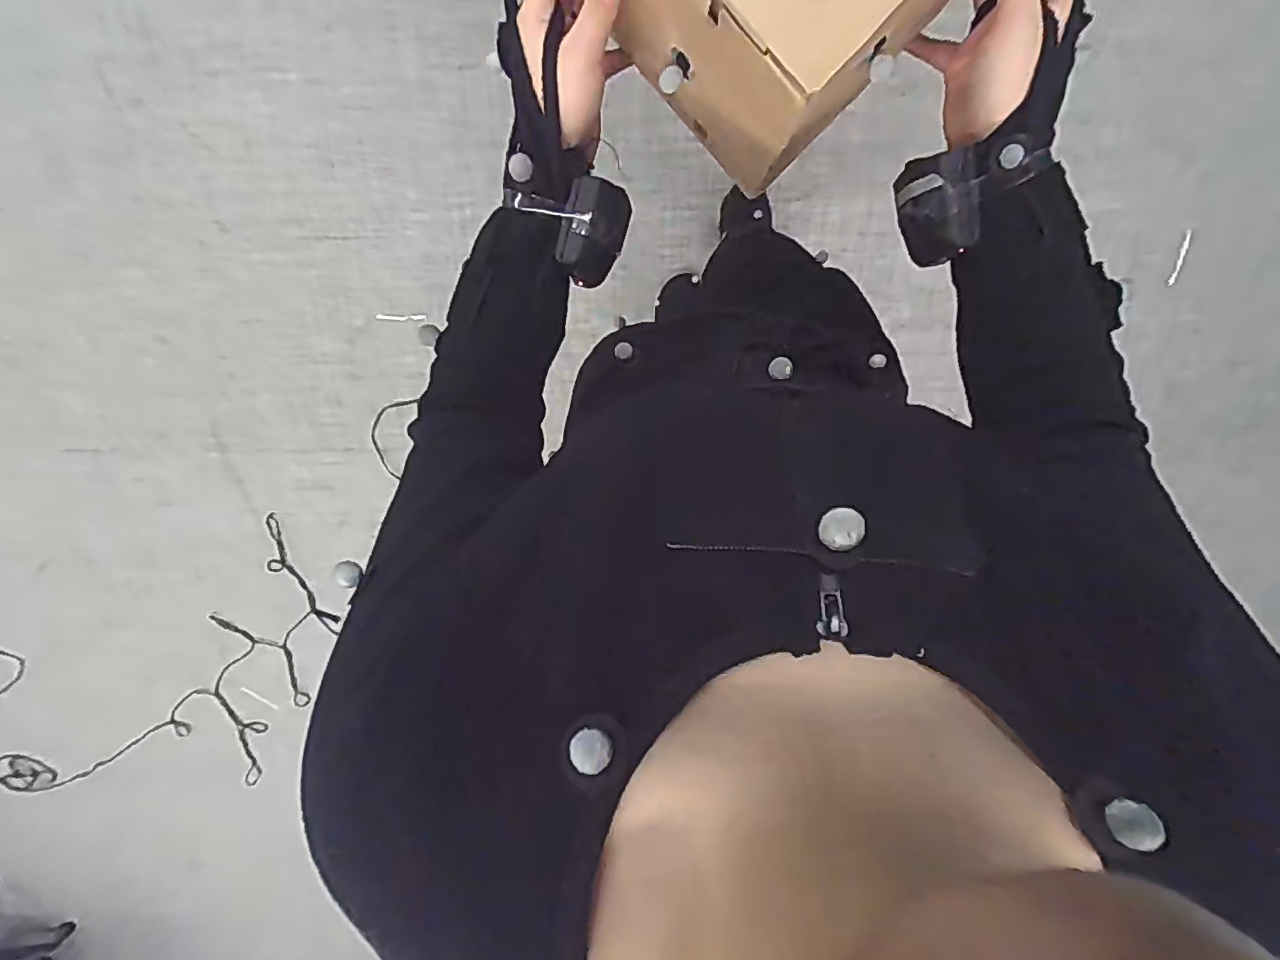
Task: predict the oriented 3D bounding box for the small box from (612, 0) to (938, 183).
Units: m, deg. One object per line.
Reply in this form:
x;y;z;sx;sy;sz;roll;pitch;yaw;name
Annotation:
0.087;-0.317;0.316;0.179;0.176;0.168;-43;97;12;small box
